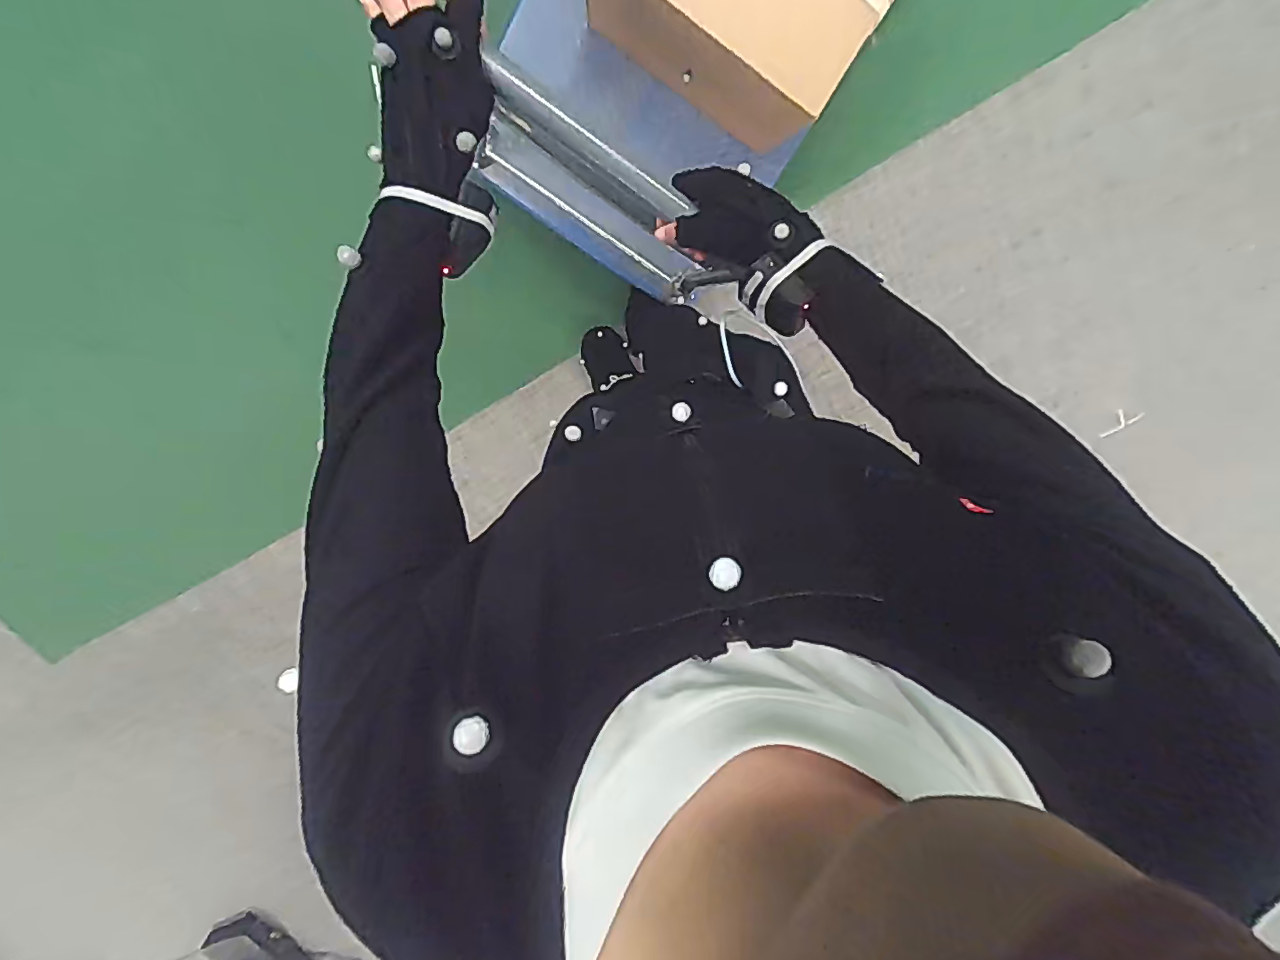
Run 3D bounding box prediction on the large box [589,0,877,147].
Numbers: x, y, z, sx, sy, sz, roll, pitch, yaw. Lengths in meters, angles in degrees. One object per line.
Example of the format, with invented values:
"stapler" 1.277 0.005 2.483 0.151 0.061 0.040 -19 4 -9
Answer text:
"large box" 0.161 -0.826 0.875 0.408 0.320 0.320 28 107 -13
